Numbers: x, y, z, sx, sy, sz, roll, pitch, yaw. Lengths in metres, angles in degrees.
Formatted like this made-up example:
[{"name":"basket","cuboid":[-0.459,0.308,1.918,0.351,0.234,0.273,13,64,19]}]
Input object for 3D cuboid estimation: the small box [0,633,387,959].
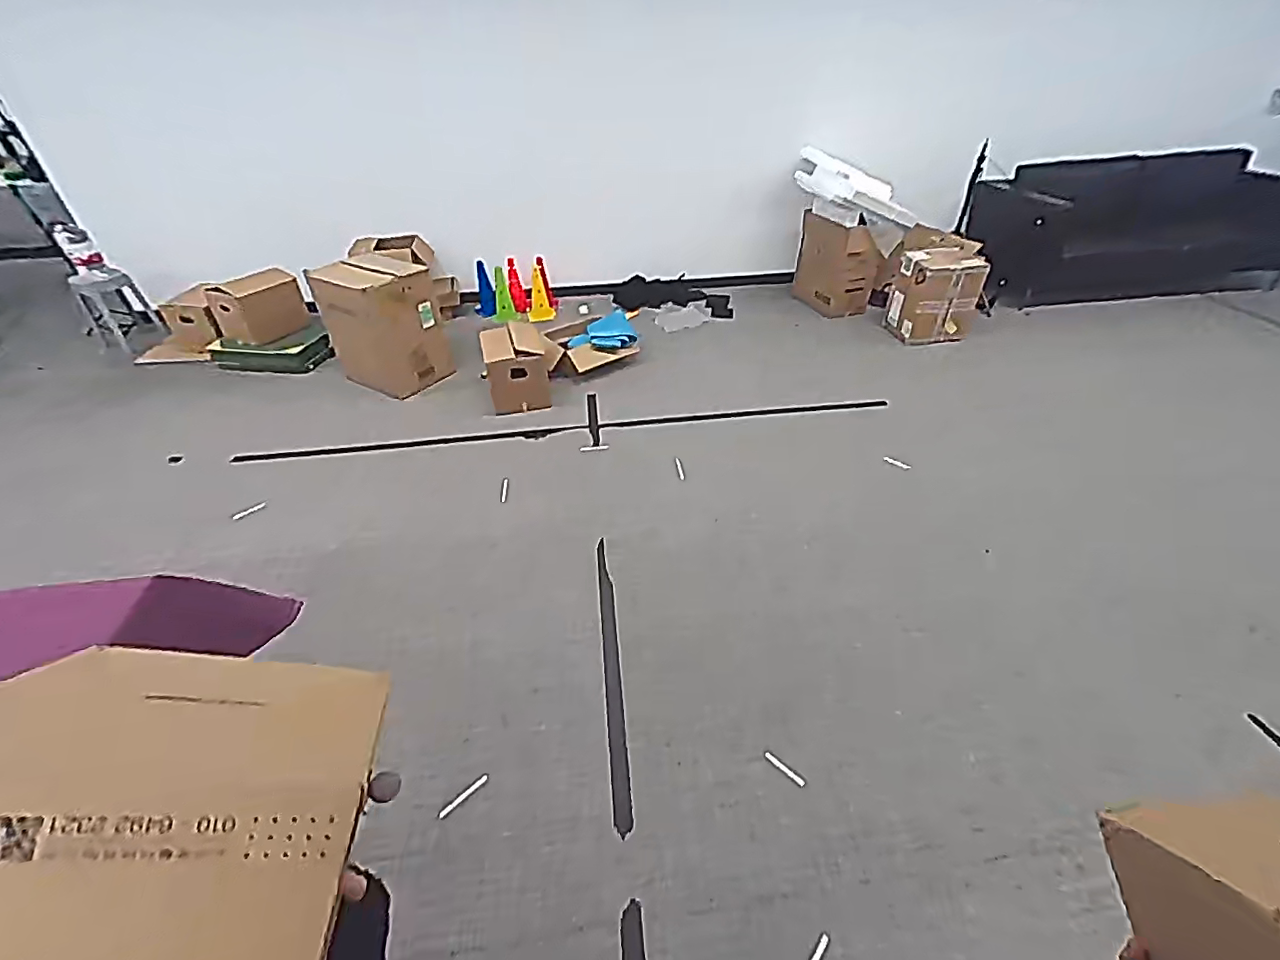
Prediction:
[{"name":"small box","cuboid":[-0.229,0.174,0.252,0.168,0.176,0.179,14,-9,-19]}]
